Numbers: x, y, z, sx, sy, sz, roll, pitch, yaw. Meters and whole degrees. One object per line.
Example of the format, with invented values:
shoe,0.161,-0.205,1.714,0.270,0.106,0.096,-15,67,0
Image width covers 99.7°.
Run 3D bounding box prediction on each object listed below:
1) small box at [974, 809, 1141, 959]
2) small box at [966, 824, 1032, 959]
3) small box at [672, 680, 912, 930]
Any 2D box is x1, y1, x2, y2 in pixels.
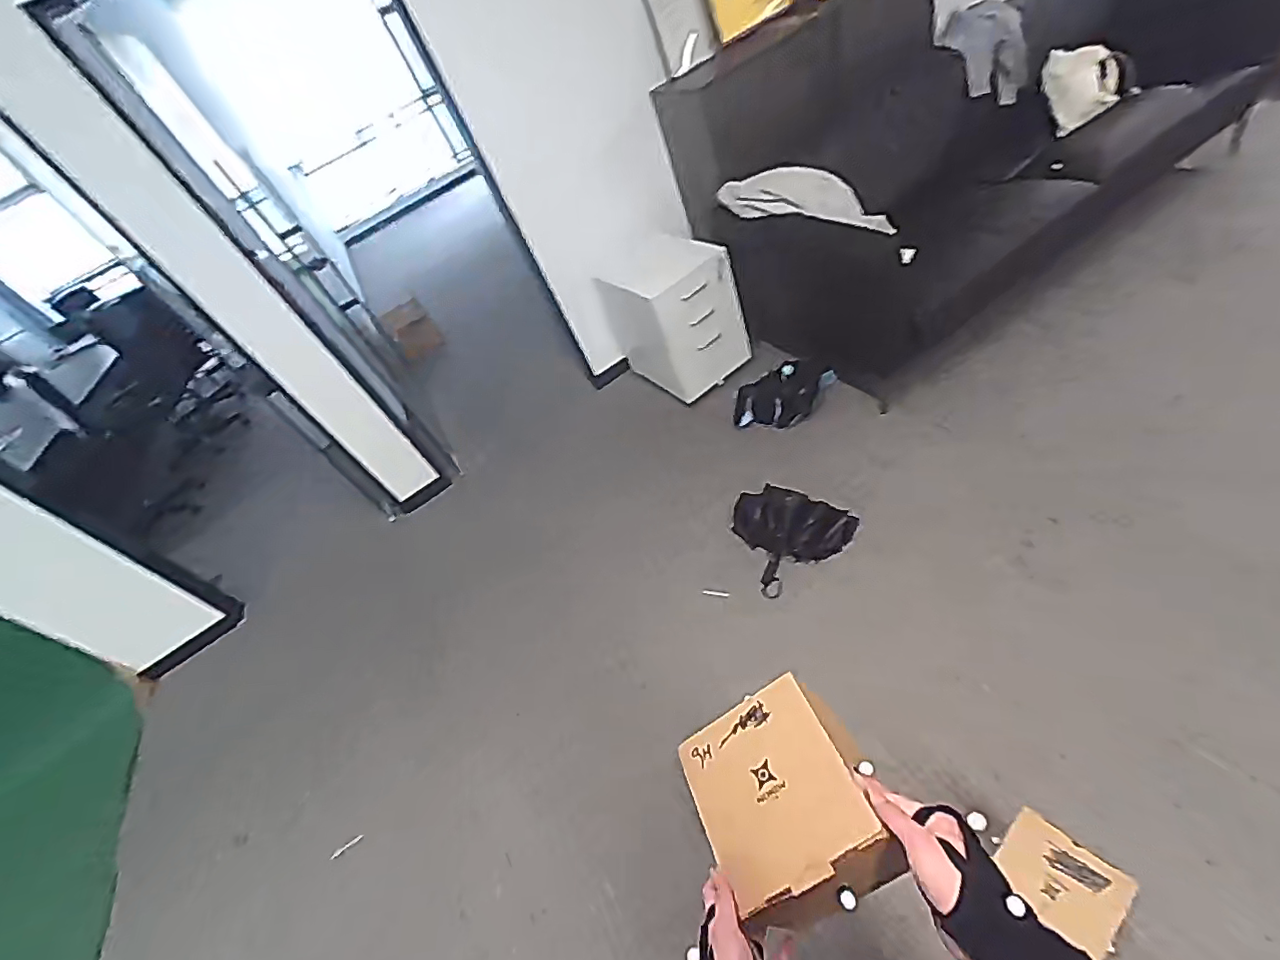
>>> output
small box,0.699,0.715,0.927,0.179,0.176,0.168,-44,45,-15
small box,0.755,0.818,1.043,0.179,0.176,0.168,-43,45,-18
small box,0.169,0.363,0.605,0.168,0.176,0.179,-37,40,9
